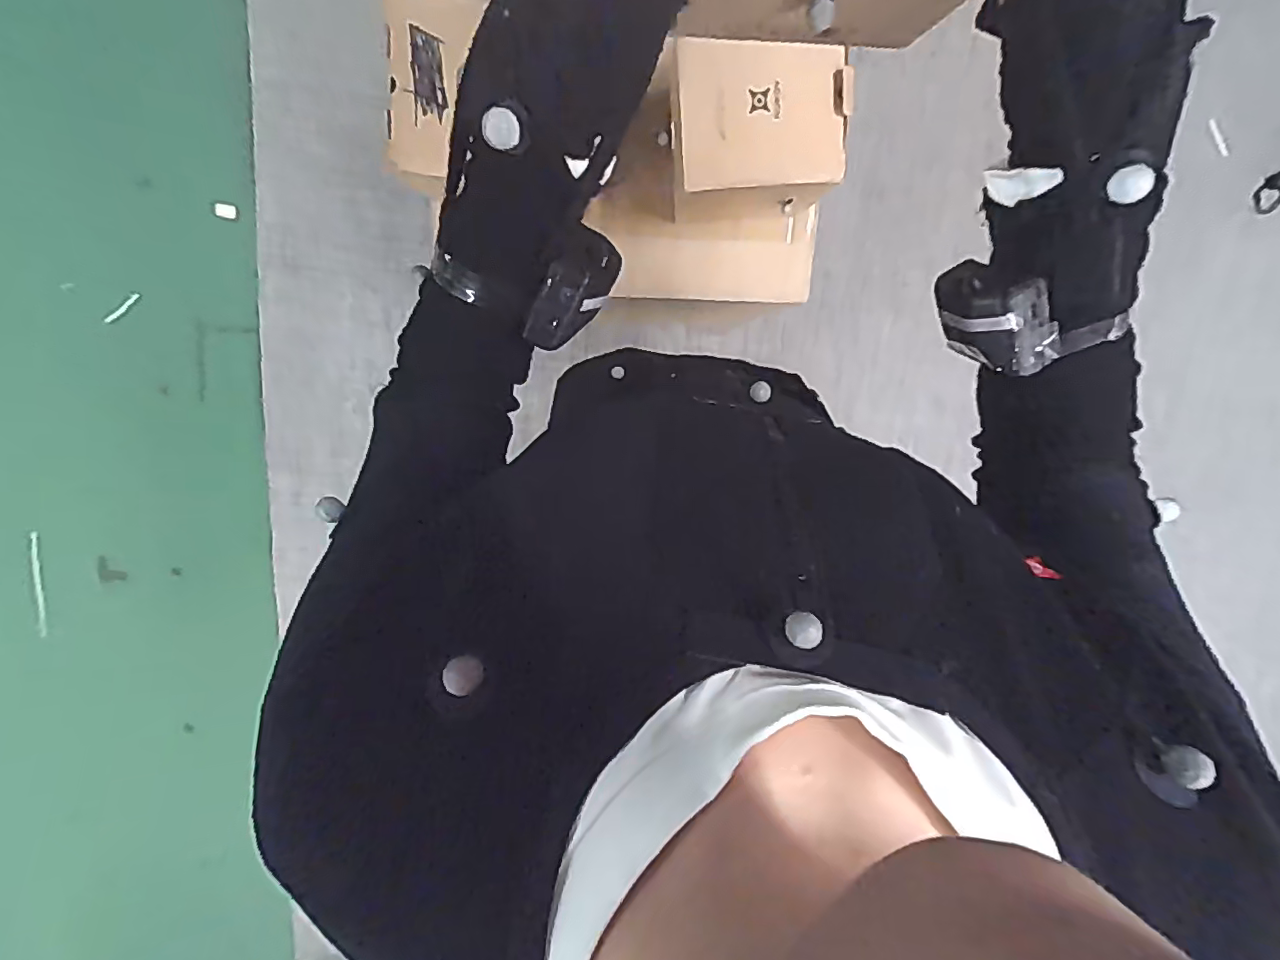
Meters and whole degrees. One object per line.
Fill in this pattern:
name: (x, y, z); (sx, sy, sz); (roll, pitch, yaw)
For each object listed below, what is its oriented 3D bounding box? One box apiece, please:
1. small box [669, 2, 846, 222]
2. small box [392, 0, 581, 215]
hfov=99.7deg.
small box: (0.128, -0.418, 0.644); (0.179, 0.176, 0.168); (-4, 104, 3)
small box: (-0.172, -0.426, 0.643); (0.179, 0.176, 0.168); (6, 105, -2)
